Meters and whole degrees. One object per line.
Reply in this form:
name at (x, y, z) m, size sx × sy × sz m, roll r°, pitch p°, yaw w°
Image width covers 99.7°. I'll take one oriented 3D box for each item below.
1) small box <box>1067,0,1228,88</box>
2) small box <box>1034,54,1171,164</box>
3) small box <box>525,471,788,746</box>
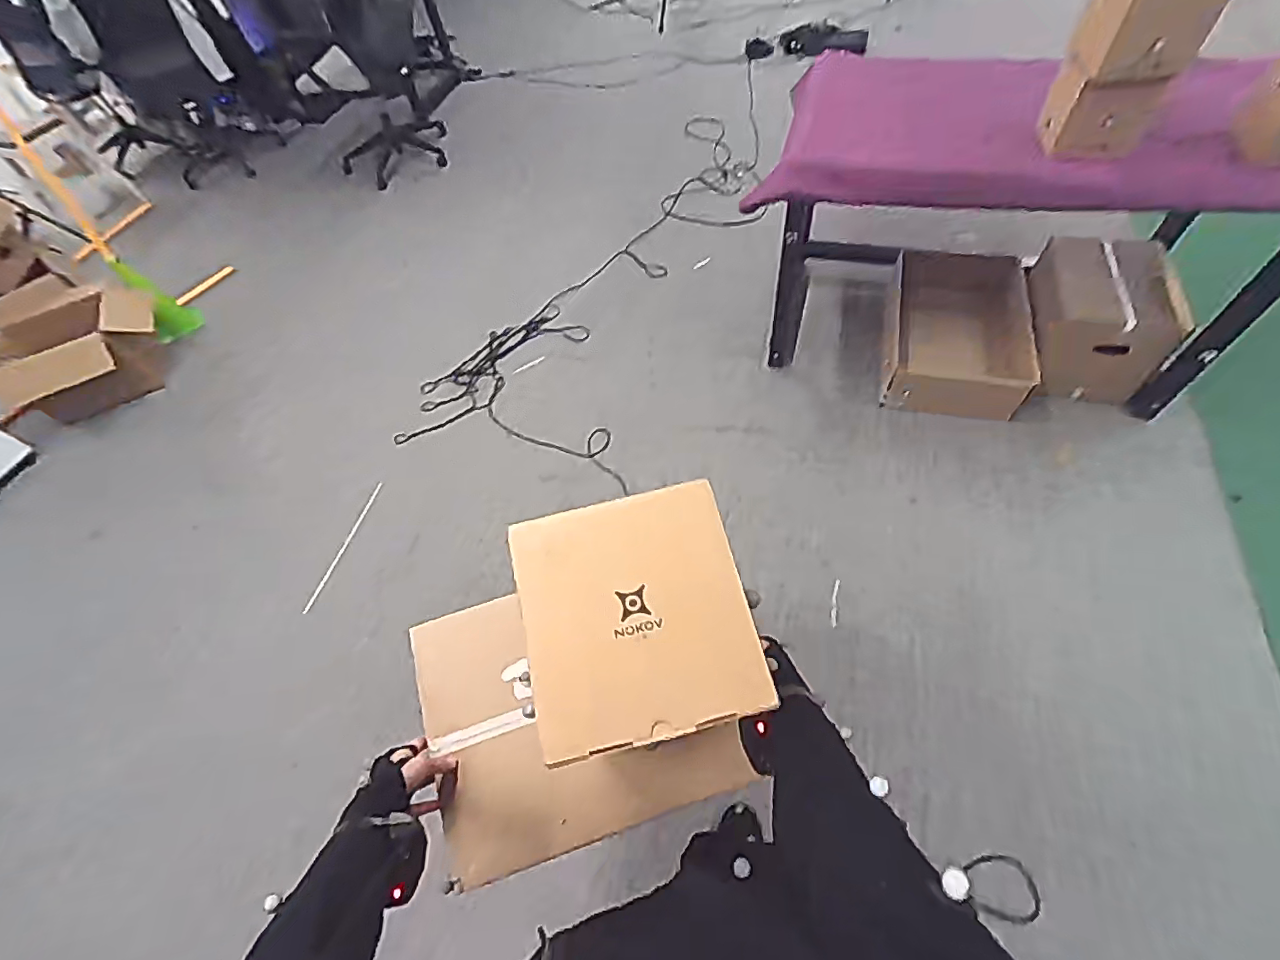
small box at (0.998, -0.912, 1.074) m, size 0.168 × 0.176 × 0.179 m, roll 2°, pitch 56°, yaw 10°
small box at (1.029, -0.838, 1.220) m, size 0.168 × 0.176 × 0.179 m, roll 7°, pitch 57°, yaw 12°
small box at (0.007, 0.117, 0.472) m, size 0.168 × 0.176 × 0.179 m, roll -13°, pitch 68°, yaw -4°
